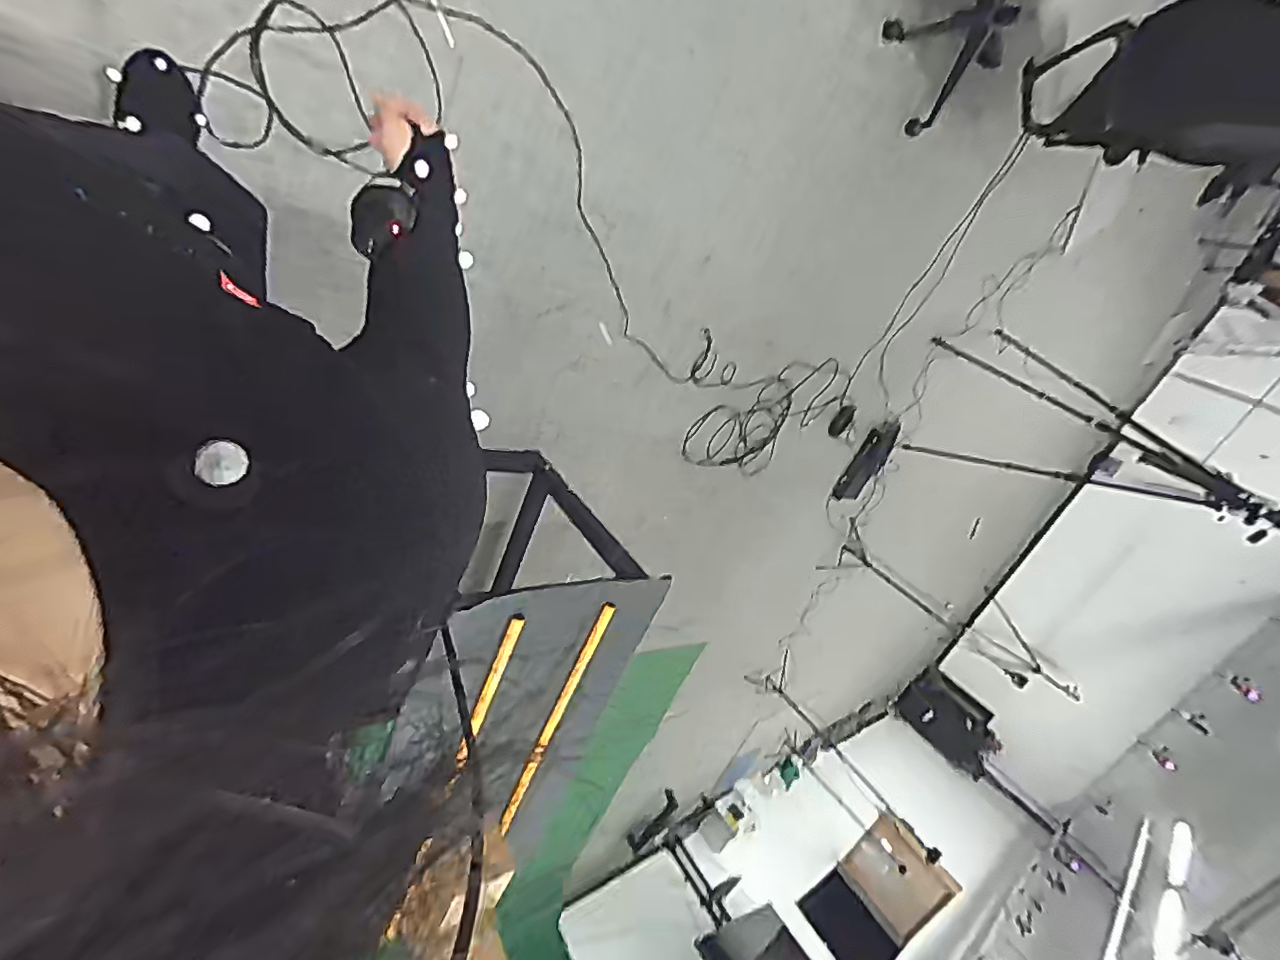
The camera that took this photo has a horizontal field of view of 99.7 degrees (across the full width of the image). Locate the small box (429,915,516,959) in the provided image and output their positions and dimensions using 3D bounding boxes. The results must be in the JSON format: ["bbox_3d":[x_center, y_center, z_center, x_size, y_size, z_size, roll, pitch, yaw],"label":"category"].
[{"bbox_3d":[-0.456,1.316,1.445,0.168,0.176,0.179,9,116,-44],"label":"small box"}]

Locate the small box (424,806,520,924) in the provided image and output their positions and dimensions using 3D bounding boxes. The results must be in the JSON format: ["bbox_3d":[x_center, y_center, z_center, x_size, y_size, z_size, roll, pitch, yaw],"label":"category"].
[{"bbox_3d":[-0.462,1.035,1.467,0.179,0.176,0.168,6,118,-44],"label":"small box"}]
